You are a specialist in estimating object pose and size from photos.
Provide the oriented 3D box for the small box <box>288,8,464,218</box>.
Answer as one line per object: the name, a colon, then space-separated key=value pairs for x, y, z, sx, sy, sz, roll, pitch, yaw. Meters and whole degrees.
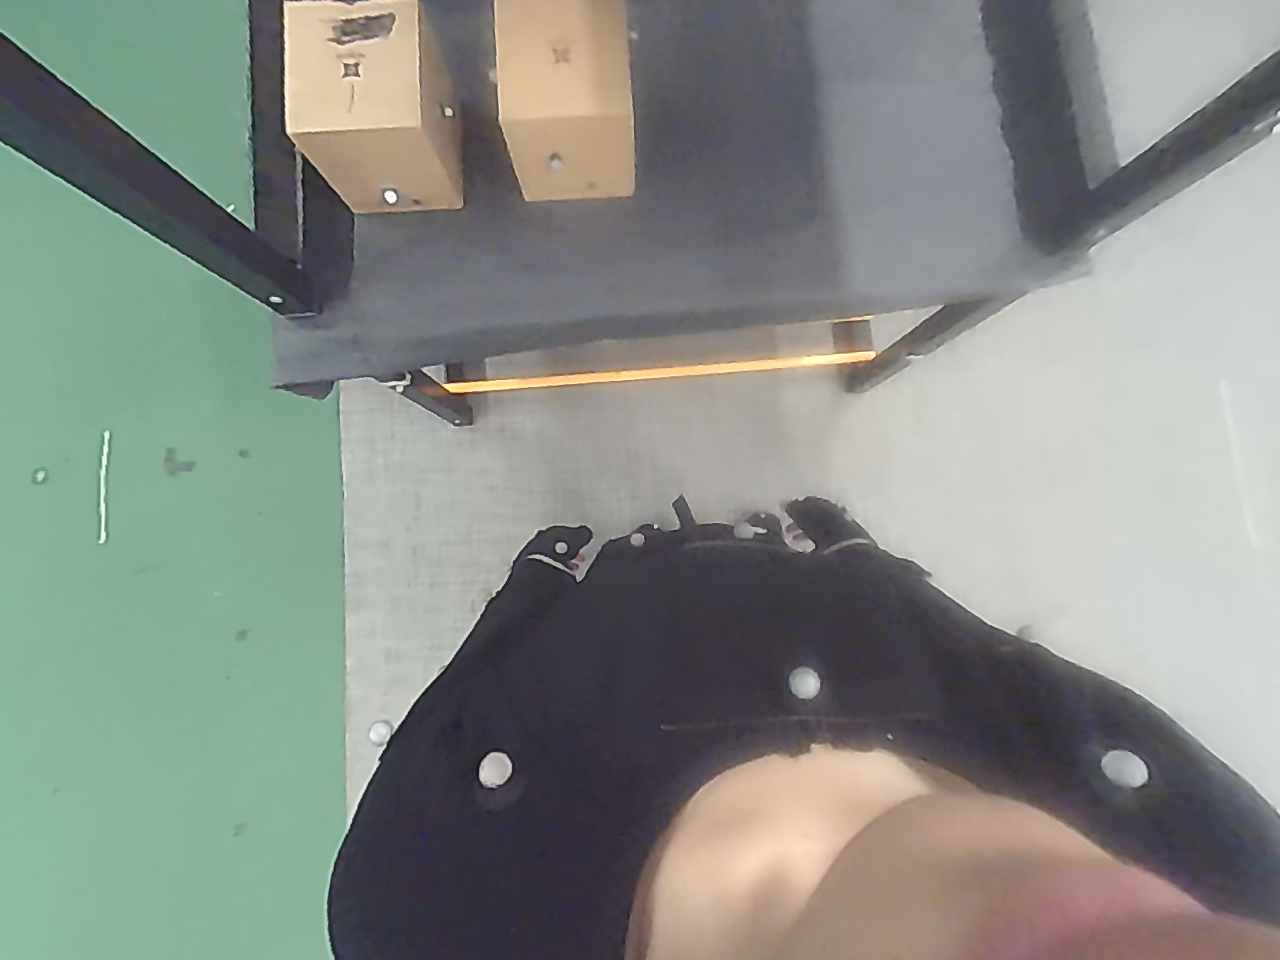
small box: x=-0.350 y=-0.492 z=0.744 sx=0.168 sy=0.176 sz=0.179 roll=-4 pitch=84 yaw=-1

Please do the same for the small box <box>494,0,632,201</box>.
small box: x=-0.098 y=-0.512 z=0.751 sx=0.168 sy=0.176 sz=0.179 roll=-4 pitch=83 yaw=-1
